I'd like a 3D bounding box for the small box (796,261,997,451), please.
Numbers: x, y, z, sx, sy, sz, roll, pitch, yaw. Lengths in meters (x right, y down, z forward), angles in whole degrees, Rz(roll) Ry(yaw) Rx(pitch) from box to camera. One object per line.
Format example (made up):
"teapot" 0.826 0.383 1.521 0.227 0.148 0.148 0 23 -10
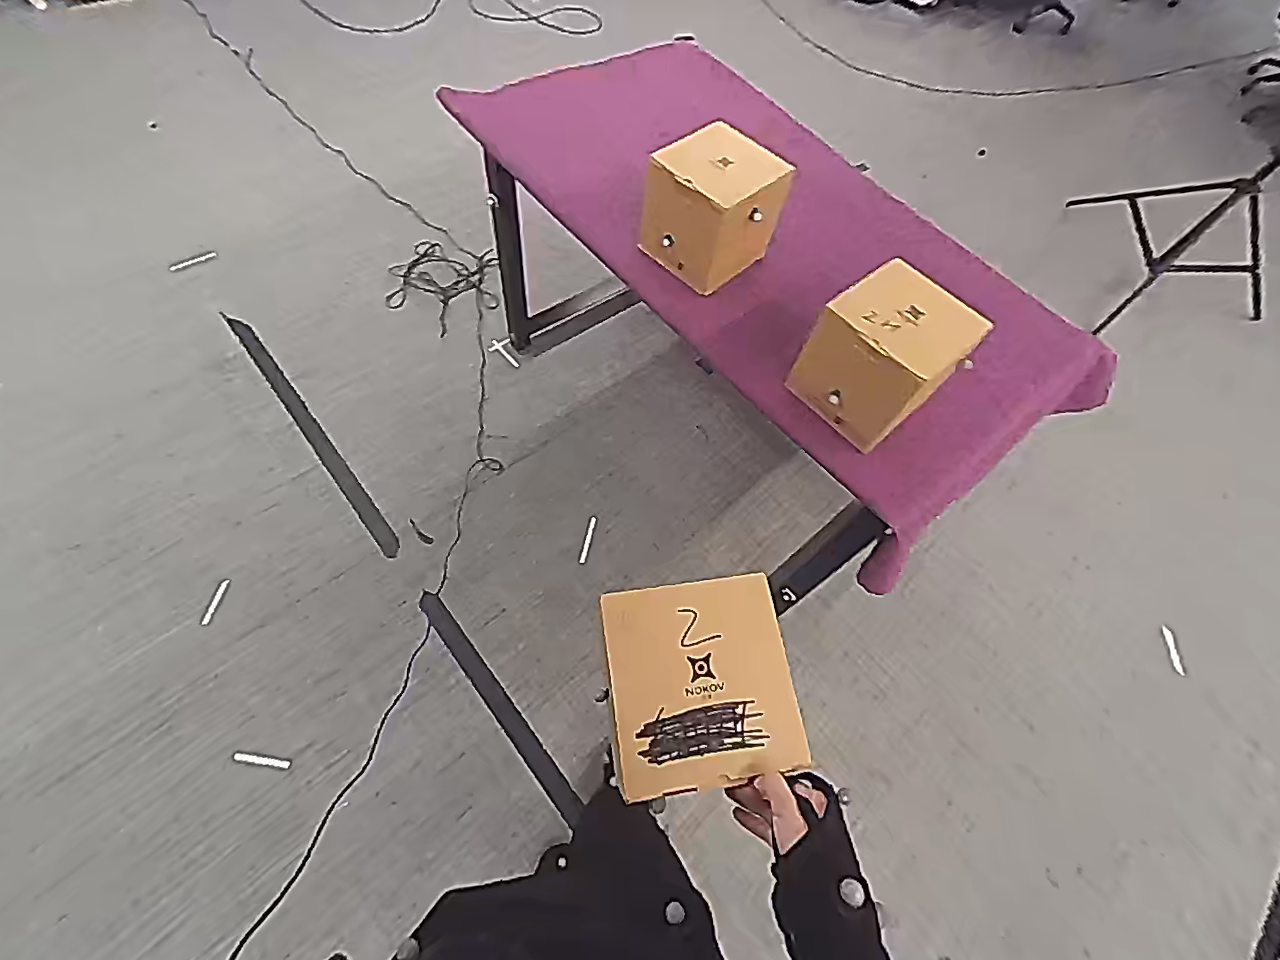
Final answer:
"small box" 0.360 -0.178 0.792 0.179 0.176 0.168 -36 70 -23

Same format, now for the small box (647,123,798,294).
"small box" 0.128 -0.455 0.917 0.168 0.176 0.179 43 66 16
